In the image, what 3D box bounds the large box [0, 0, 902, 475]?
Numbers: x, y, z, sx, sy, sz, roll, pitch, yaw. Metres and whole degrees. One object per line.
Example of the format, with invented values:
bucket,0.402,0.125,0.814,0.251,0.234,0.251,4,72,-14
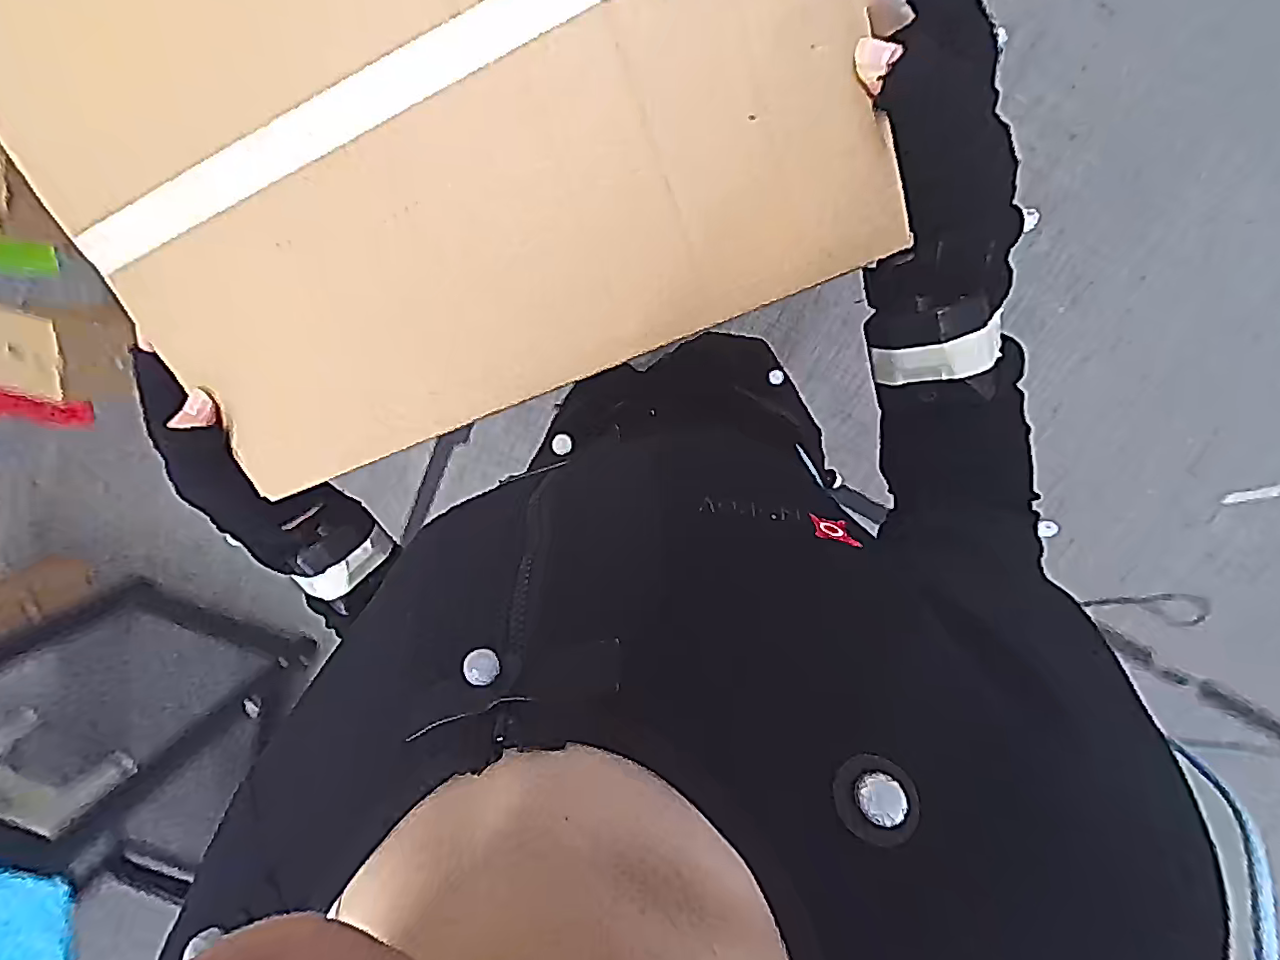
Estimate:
large box,-0.093,-0.251,0.405,0.408,0.320,0.320,-18,111,11
